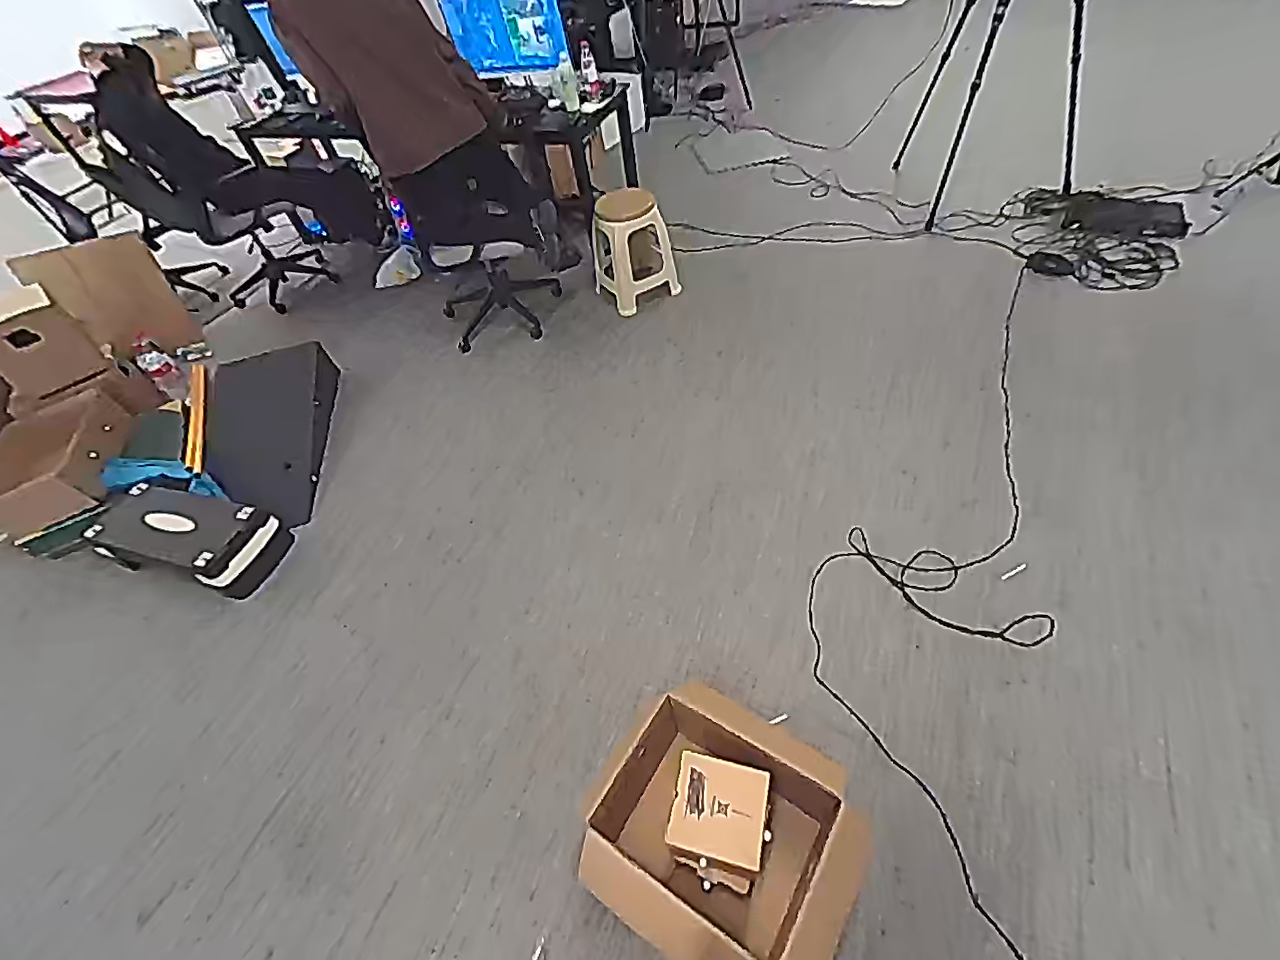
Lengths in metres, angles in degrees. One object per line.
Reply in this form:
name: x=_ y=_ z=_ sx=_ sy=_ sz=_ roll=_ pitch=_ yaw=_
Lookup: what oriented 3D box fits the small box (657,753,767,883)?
small box: x=0.149 y=0.676 z=1.077 sx=0.179 sy=0.176 sz=0.168 roll=10 pitch=53 yaw=19
